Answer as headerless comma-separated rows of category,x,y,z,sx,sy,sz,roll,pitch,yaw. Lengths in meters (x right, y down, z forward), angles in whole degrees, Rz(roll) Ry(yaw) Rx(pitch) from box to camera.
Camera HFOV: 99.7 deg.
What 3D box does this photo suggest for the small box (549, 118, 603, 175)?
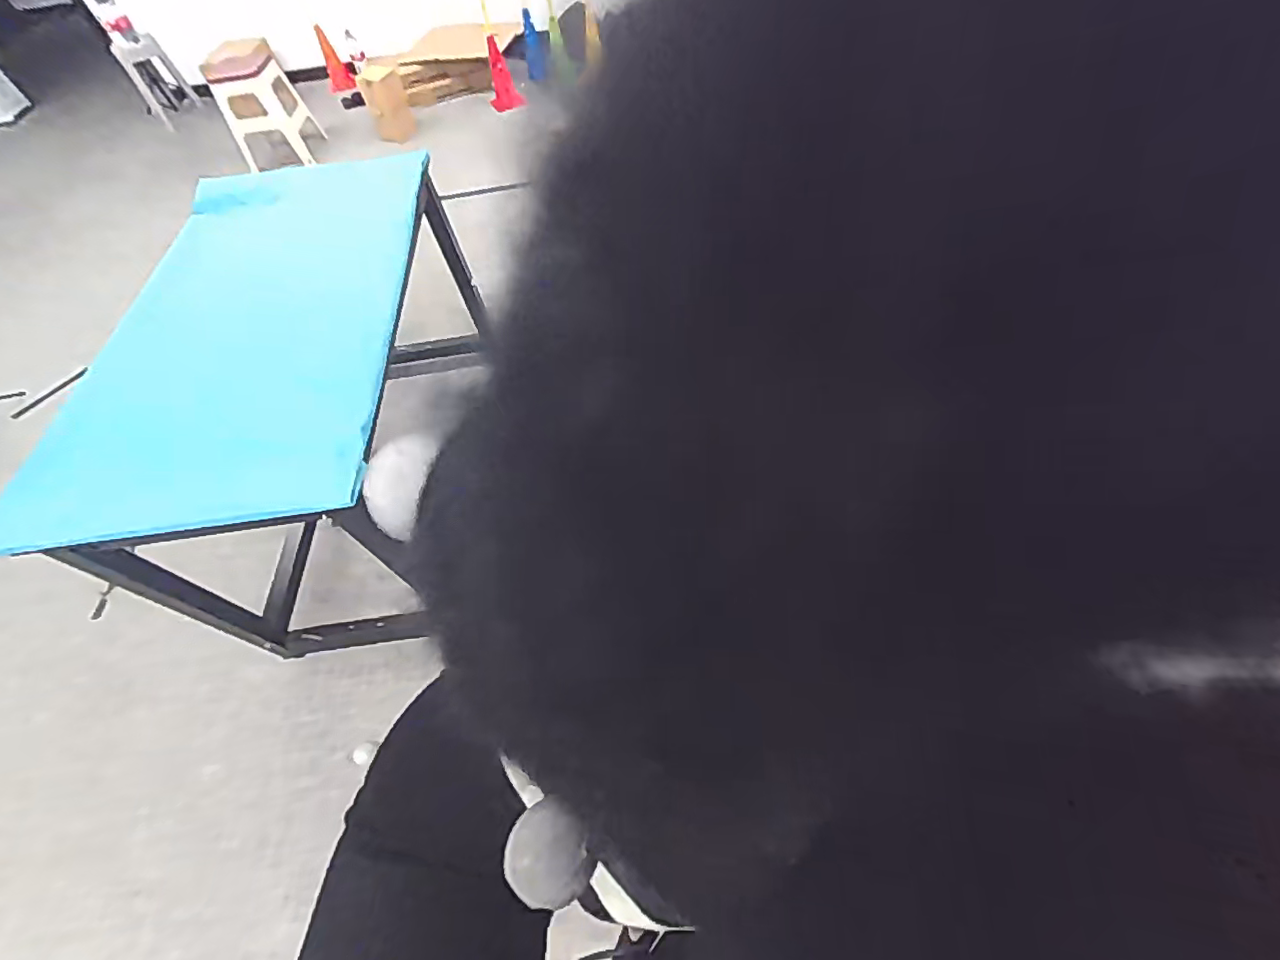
small box,-0.302,-1.583,2.558,0.179,0.176,0.168,24,62,22
